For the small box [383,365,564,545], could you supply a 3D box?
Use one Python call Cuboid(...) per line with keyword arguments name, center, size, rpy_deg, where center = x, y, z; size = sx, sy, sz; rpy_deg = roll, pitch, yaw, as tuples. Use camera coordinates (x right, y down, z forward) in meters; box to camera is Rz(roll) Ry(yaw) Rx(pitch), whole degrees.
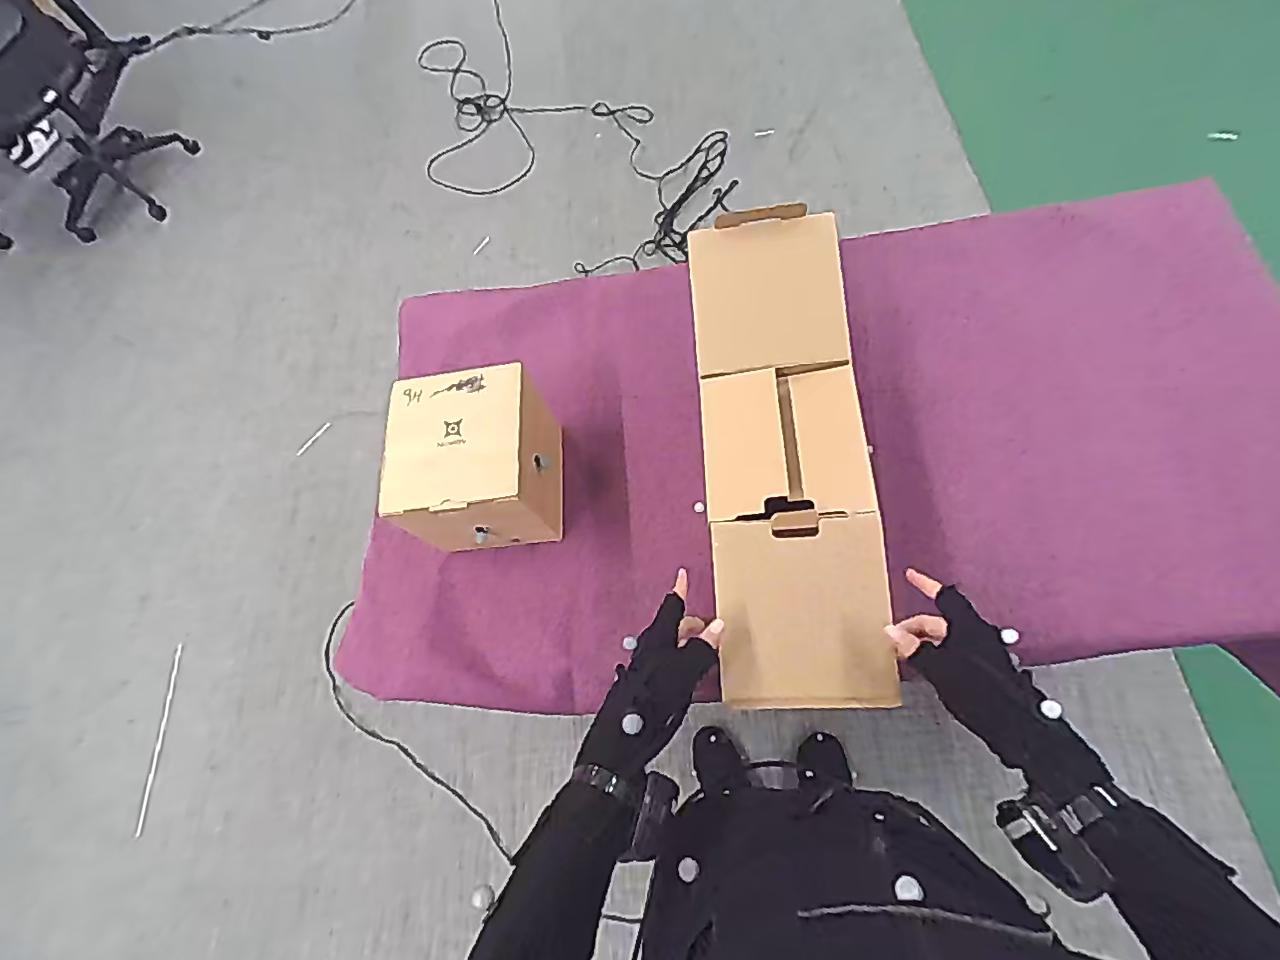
Cuboid(name="small box", center=(-0.199, -0.019, 0.693), size=(0.168, 0.176, 0.179), rpy_deg=(-7, 68, 7))
